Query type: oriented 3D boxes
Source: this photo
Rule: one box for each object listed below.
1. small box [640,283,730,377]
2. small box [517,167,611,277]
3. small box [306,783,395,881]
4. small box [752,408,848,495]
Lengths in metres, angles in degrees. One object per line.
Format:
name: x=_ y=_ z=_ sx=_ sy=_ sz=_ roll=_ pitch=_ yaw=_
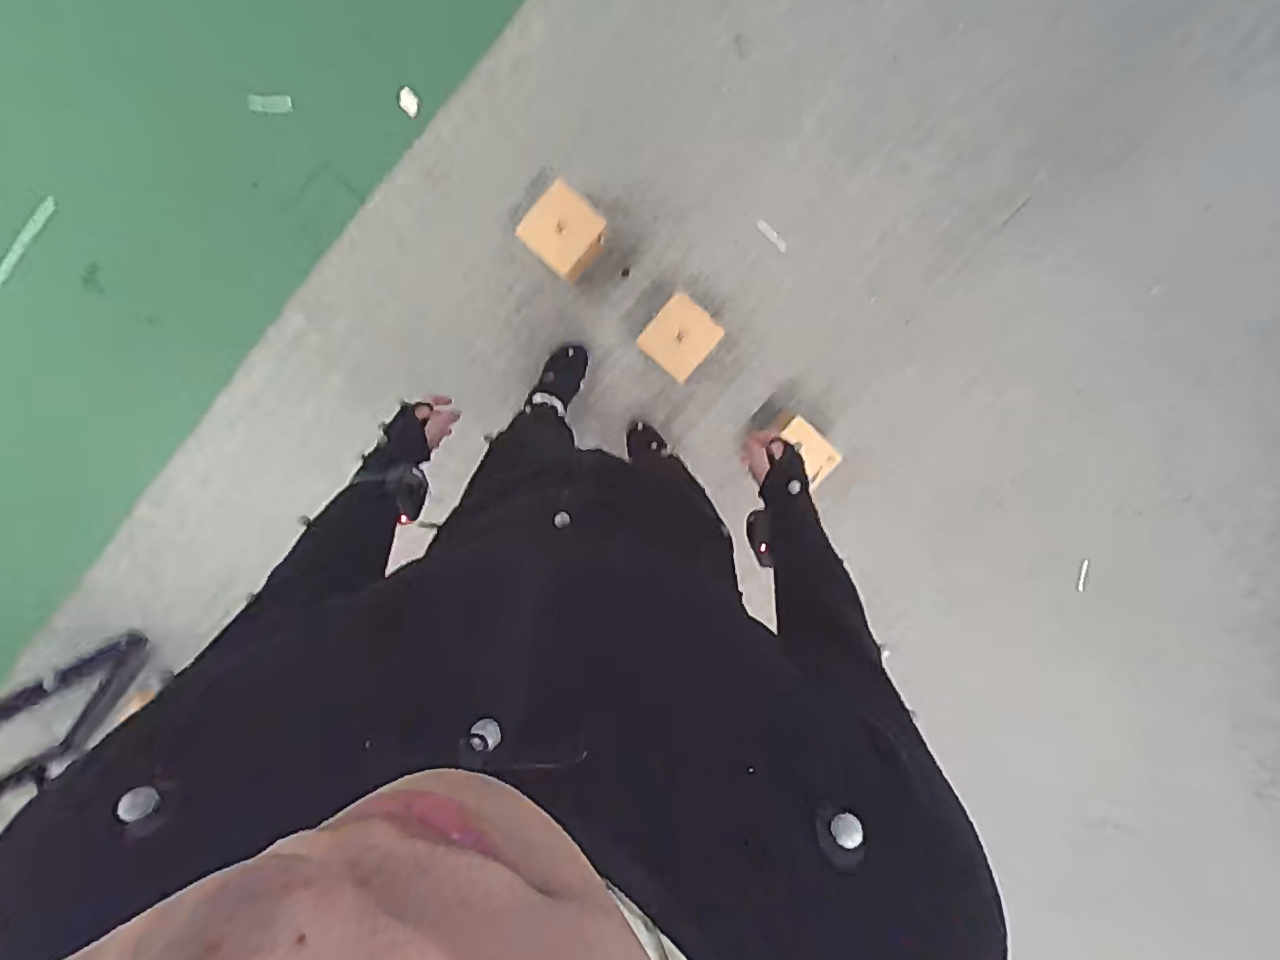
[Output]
small box: x=0.113 y=-0.396 z=1.452 sx=0.168 sy=0.176 sz=0.179 roll=41 pitch=99 yaw=-7
small box: x=-0.187 y=-0.655 z=1.402 sx=0.168 sy=0.176 sz=0.179 roll=41 pitch=98 yaw=-7
small box: x=-0.934 y=1.143 z=1.767 sx=0.168 sy=0.176 sz=0.179 roll=33 pitch=100 yaw=-6
small box: x=0.436 y=-0.085 z=1.509 sx=0.179 sy=0.176 sz=0.168 roll=42 pitch=99 yaw=-6
